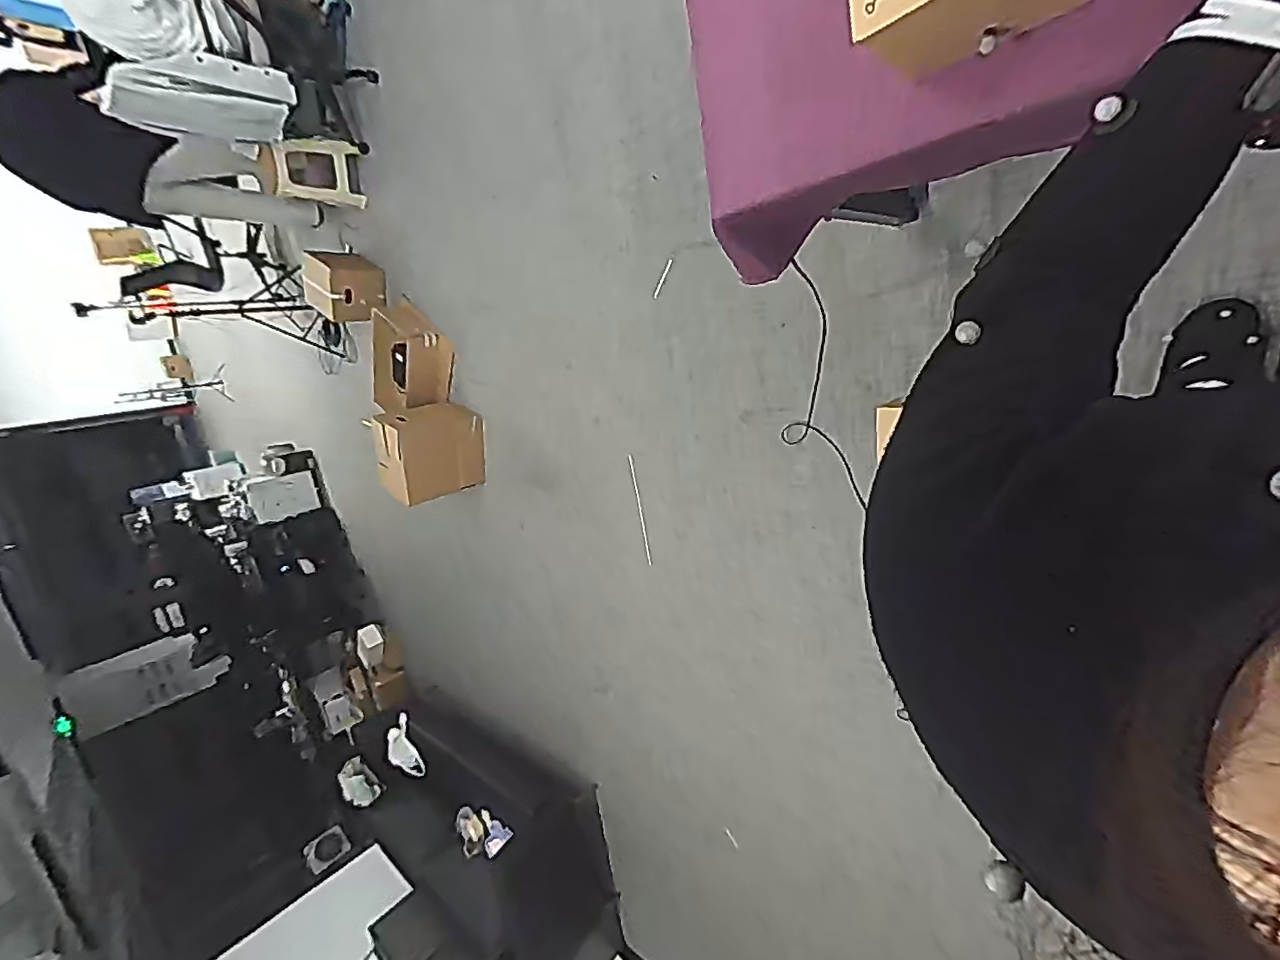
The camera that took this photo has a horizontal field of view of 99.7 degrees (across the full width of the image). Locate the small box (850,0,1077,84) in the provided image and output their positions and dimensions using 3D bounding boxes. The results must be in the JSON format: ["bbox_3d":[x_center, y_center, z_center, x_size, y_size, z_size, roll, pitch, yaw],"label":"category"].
[{"bbox_3d":[0.310,-0.516,0.507,0.179,0.176,0.168,1,106,43],"label":"small box"}]
